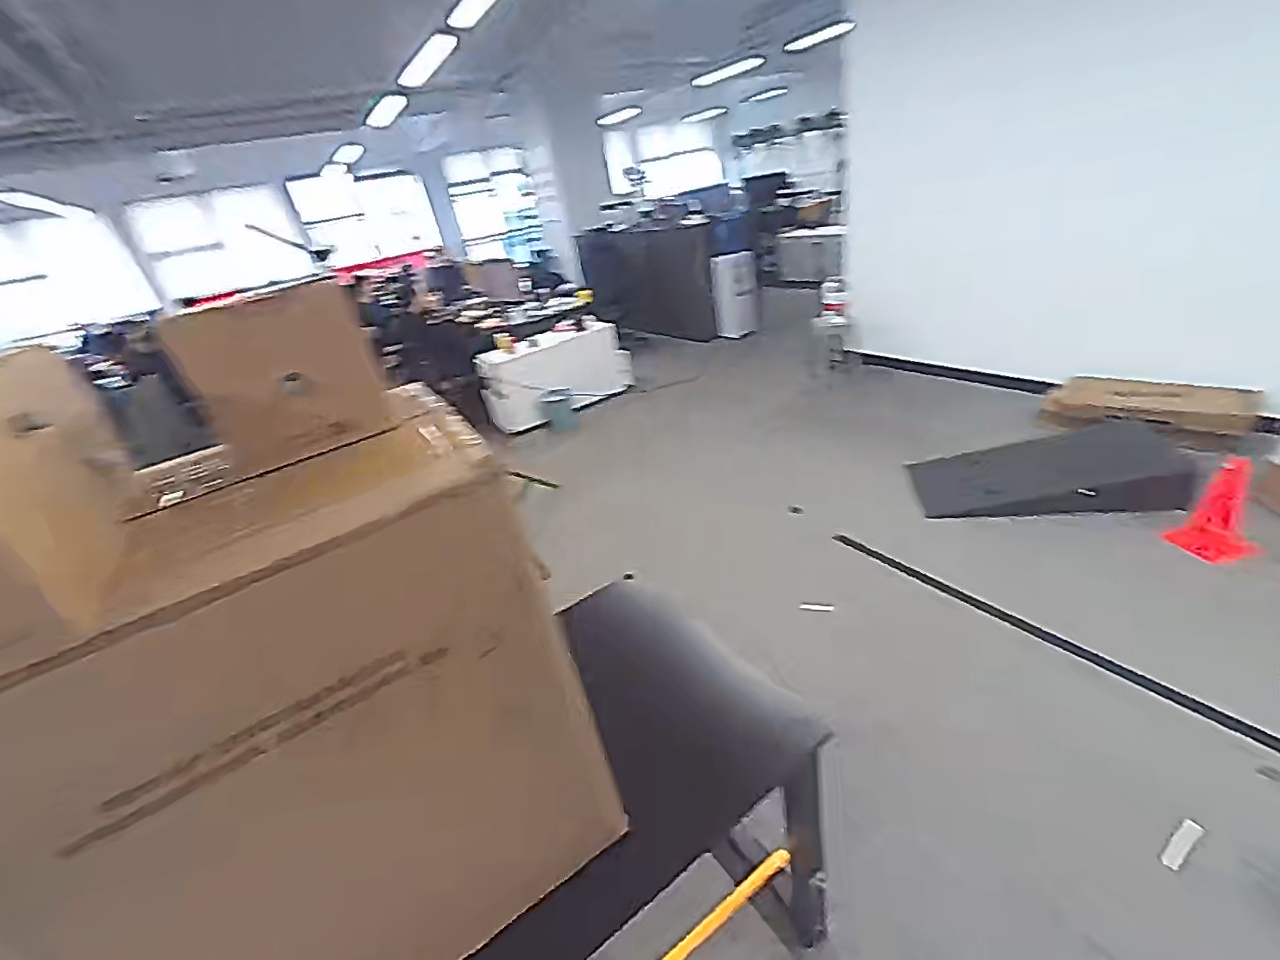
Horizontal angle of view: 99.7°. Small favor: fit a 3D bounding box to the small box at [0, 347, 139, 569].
[{"bbox_3d":[-0.629,-0.010,0.499,0.179,0.176,0.168,-25,30,-25],"label":"small box"}]
